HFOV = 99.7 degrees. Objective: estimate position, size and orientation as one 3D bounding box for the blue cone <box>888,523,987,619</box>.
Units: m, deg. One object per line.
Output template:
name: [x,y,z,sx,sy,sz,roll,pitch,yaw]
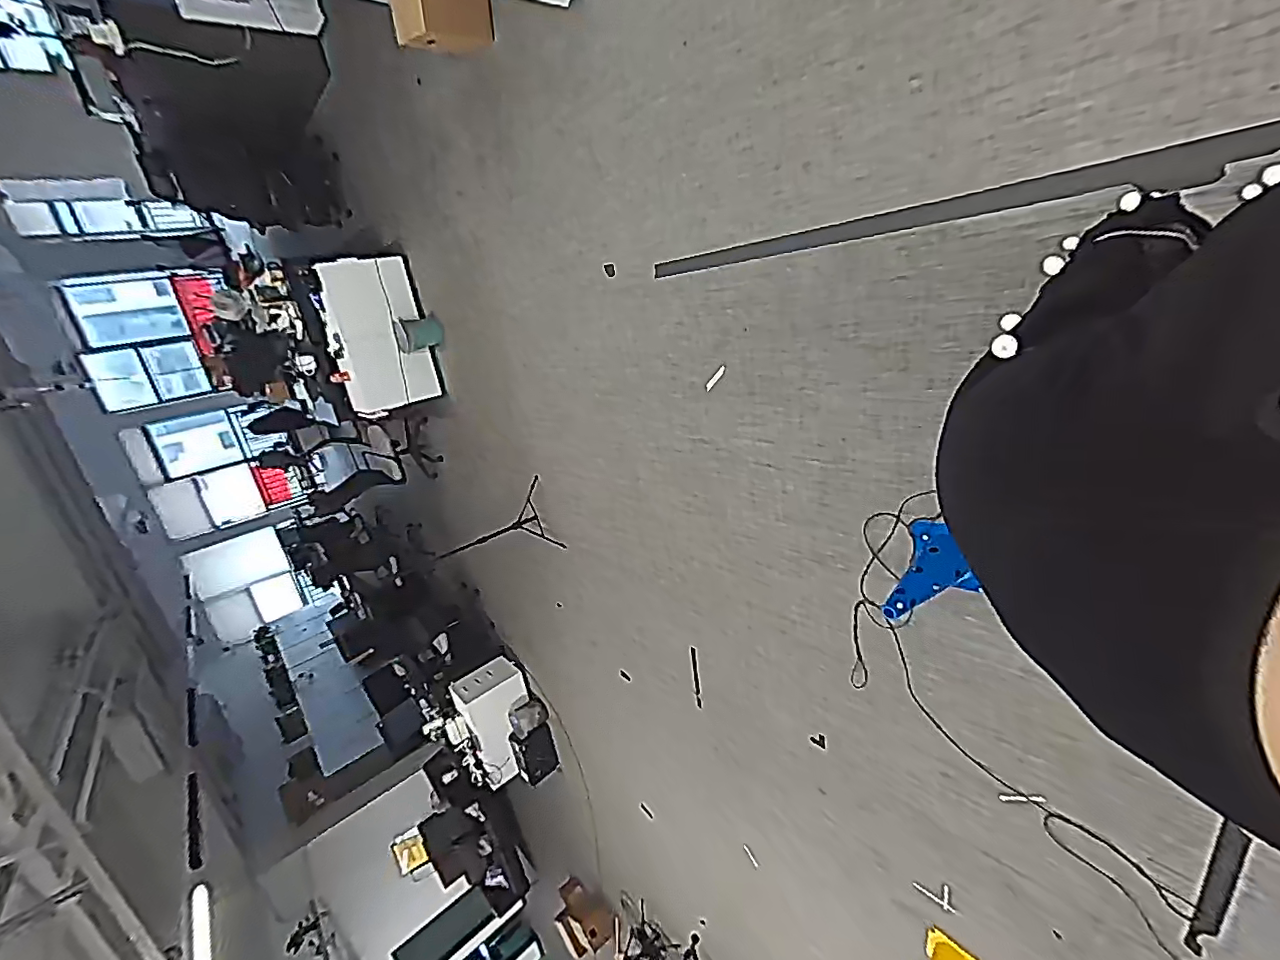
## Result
blue cone: [0.769,0.271,1.464,0.192,0.380,0.193,7,115,51]
